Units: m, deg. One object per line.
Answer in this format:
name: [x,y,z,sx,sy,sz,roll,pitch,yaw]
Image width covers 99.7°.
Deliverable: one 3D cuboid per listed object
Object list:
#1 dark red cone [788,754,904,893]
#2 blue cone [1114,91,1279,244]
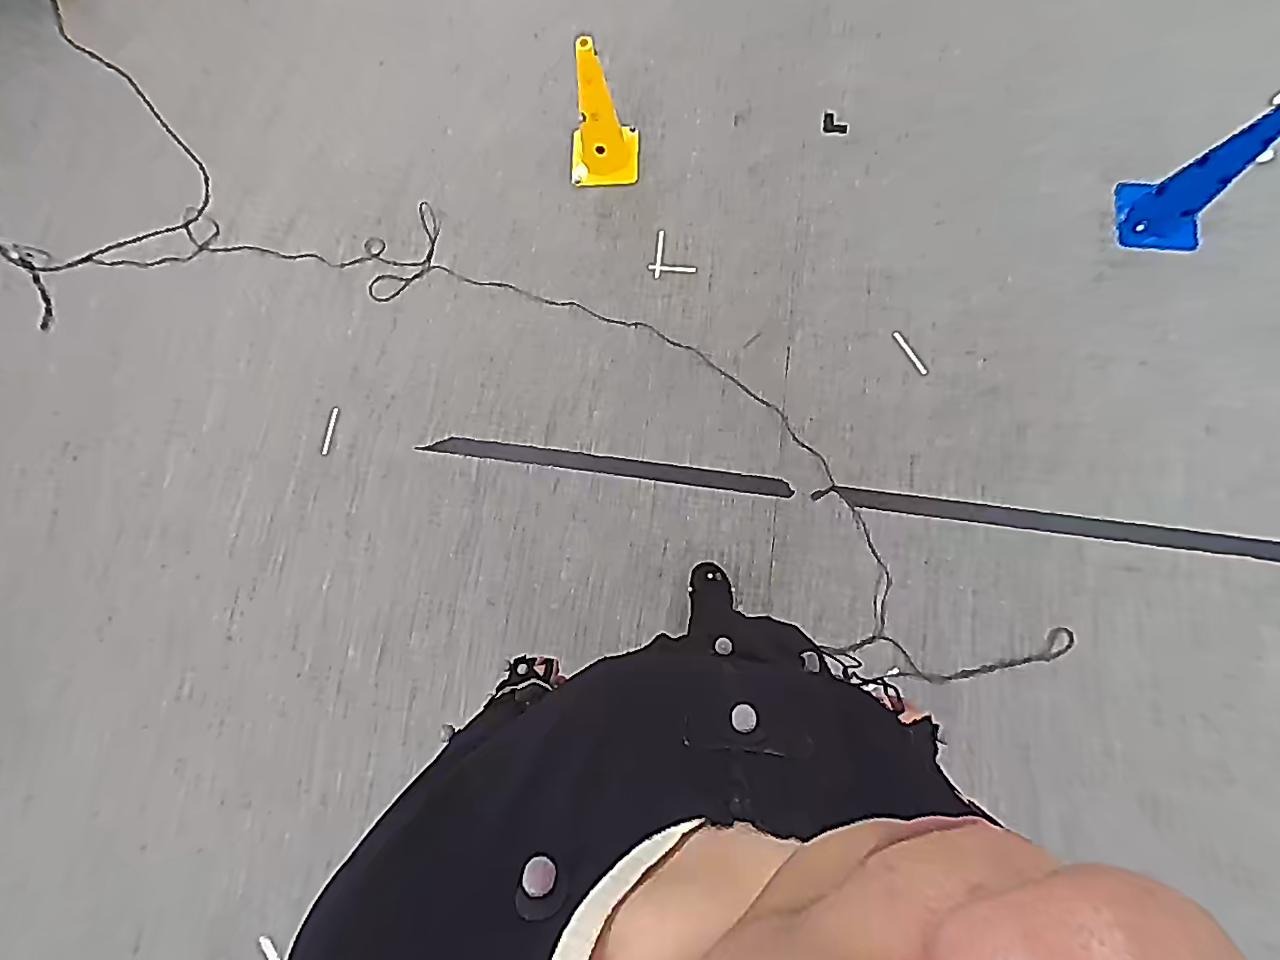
dark red cone: [0.423,0.687,1.054,0.202,0.394,0.201,-1,77,4]
blue cone: [1.384,-0.766,1.311,0.193,0.380,0.192,7,78,6]
